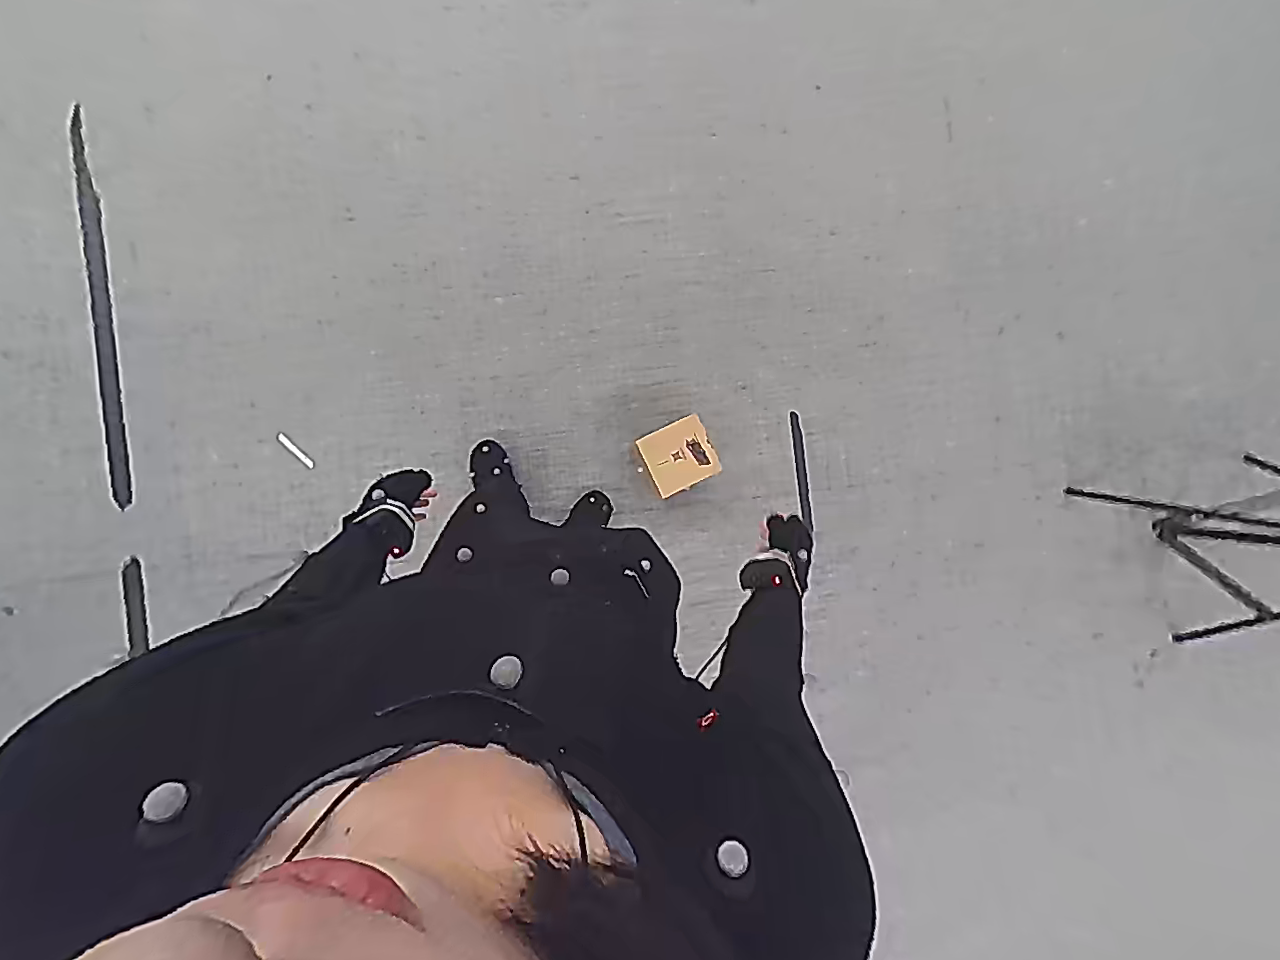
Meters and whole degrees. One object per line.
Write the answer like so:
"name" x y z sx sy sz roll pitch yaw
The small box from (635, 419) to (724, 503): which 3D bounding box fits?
"small box" 0.099 -0.051 1.447 0.179 0.176 0.168 -25 92 -3
